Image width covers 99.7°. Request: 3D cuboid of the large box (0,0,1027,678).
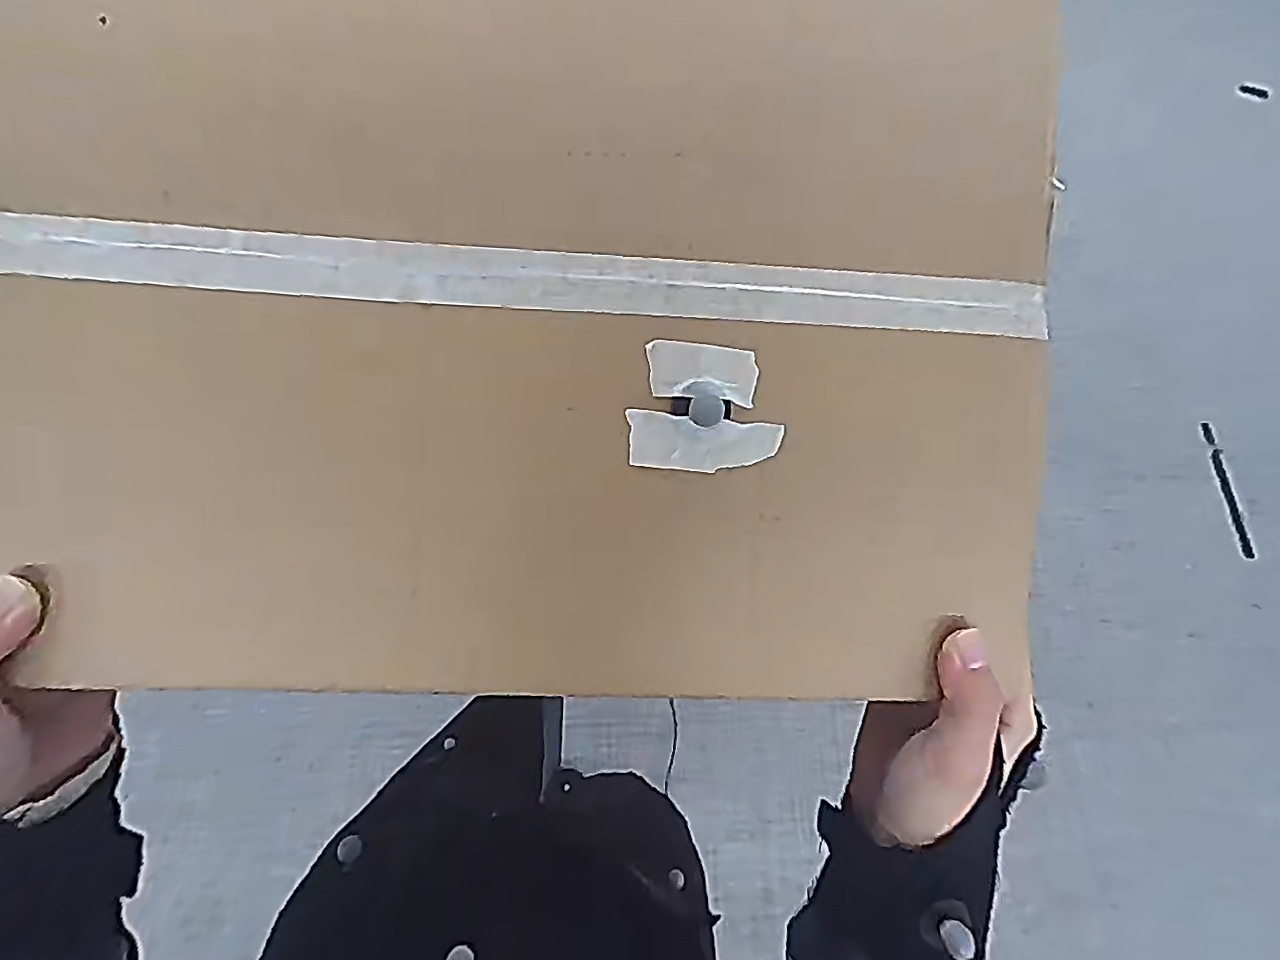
[{"bbox_3d":[-0.052,-0.078,0.363,0.408,0.320,0.320,2,92,-5],"label":"large box"}]
